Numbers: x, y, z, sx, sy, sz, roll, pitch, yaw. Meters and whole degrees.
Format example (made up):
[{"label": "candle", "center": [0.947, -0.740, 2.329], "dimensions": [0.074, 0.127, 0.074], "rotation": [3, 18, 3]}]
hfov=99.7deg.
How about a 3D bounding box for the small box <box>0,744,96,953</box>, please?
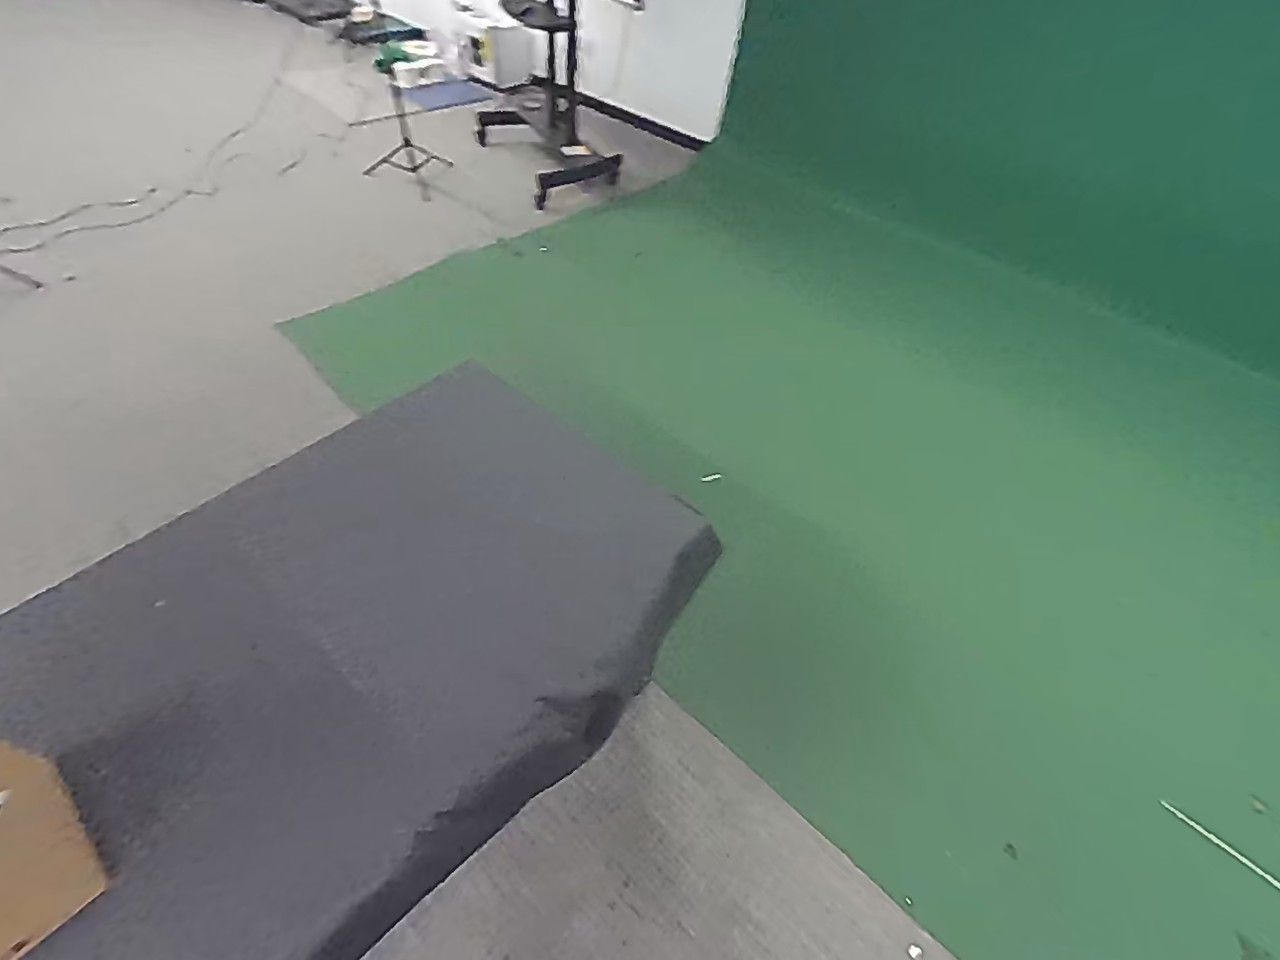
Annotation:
[{"label": "small box", "center": [-0.644, 0.345, 0.471], "dimensions": [0.179, 0.176, 0.168], "rotation": [36, 55, 22]}]
